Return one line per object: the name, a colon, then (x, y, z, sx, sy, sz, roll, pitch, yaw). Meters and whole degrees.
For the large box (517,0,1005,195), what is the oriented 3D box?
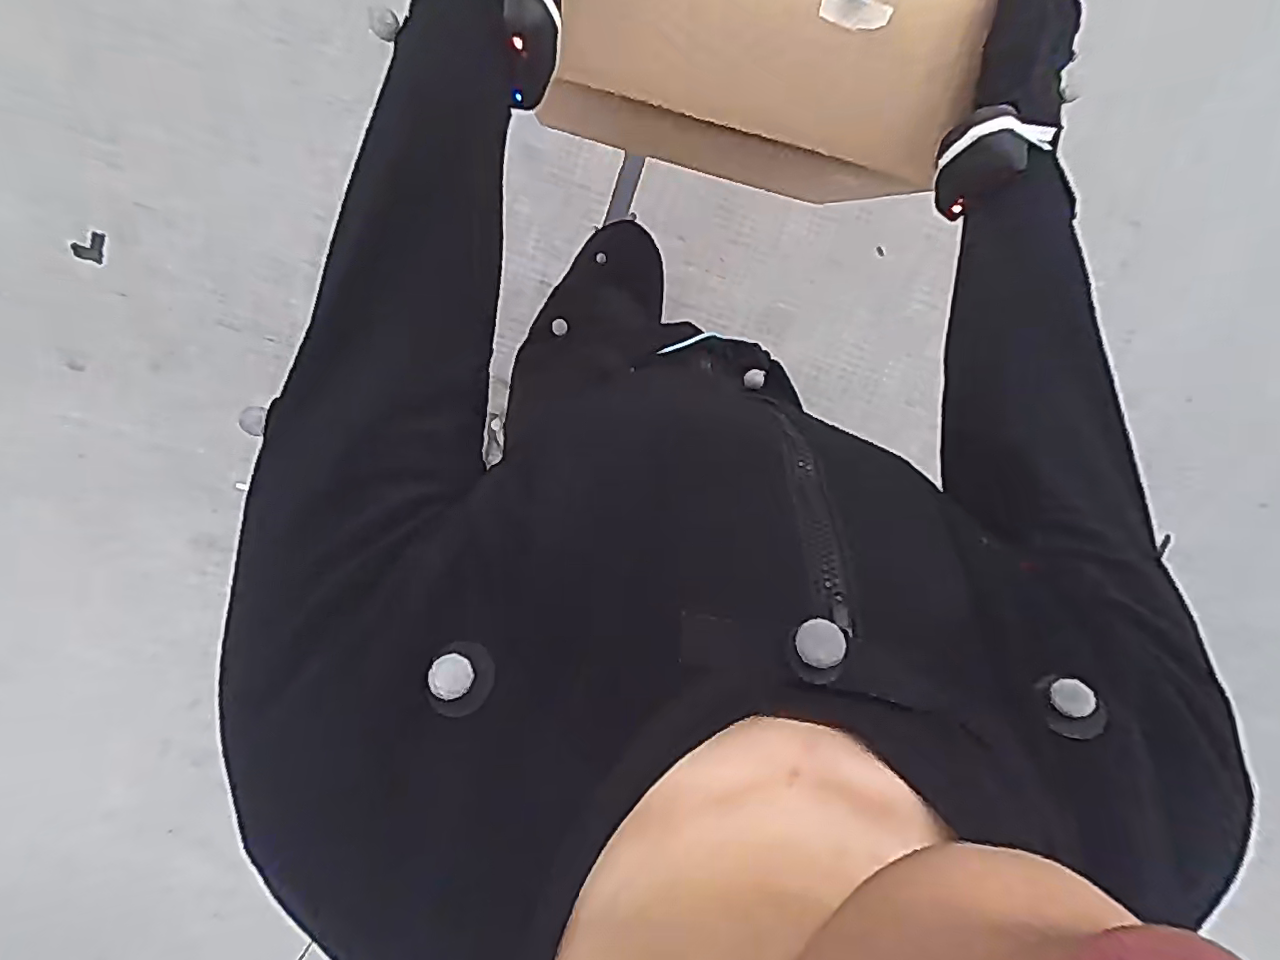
large box: (0.106, -0.514, 0.555, 0.408, 0.320, 0.320, 10, 115, -10)
